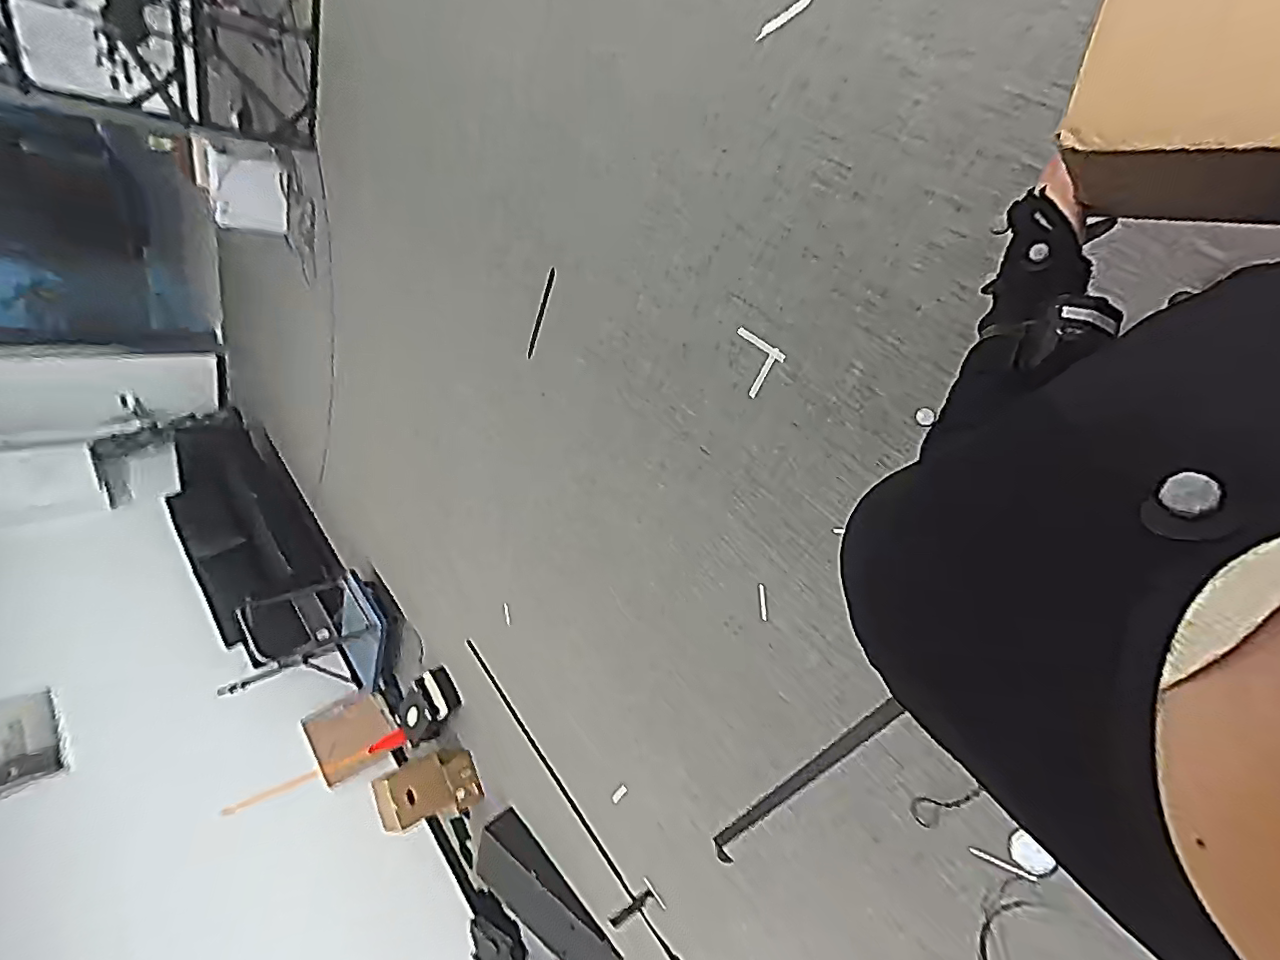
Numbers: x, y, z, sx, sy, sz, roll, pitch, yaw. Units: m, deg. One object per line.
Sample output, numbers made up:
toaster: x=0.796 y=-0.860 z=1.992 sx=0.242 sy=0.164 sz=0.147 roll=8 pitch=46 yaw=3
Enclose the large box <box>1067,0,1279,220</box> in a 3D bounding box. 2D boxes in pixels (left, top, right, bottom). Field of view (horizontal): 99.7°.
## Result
large box: x=0.463 y=-0.286 z=0.210 sx=0.408 sy=0.320 sz=0.320 roll=21 pitch=118 yaw=34
